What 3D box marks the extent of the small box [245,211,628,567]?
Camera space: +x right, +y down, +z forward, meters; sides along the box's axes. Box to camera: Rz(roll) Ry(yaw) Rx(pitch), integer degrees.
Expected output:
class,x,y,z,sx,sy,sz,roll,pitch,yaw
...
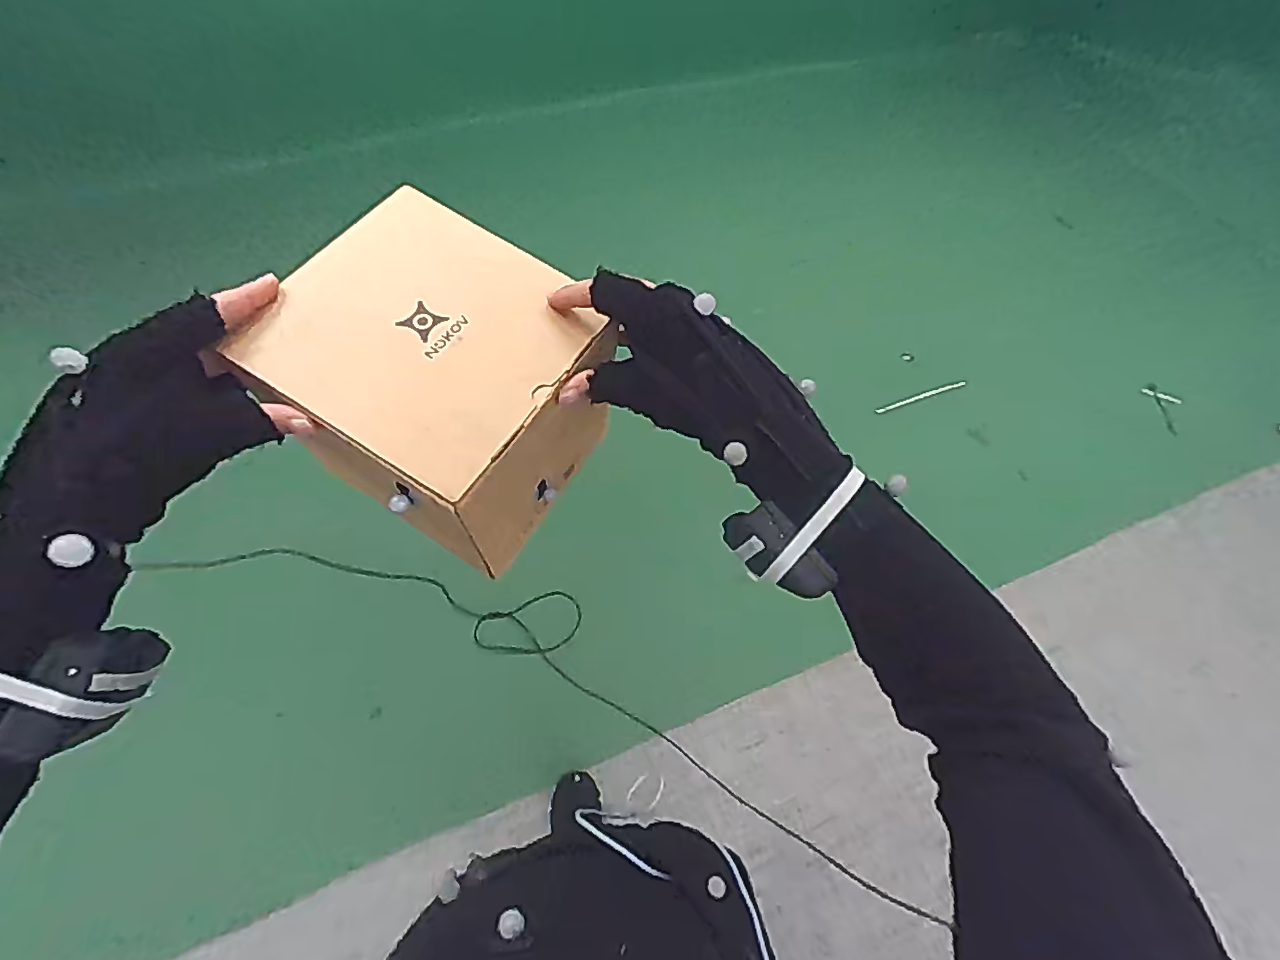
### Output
class,x,y,z,sx,sy,sz,roll,pitch,yaw
small box,-0.132,-0.055,0.413,0.179,0.176,0.168,32,66,7
